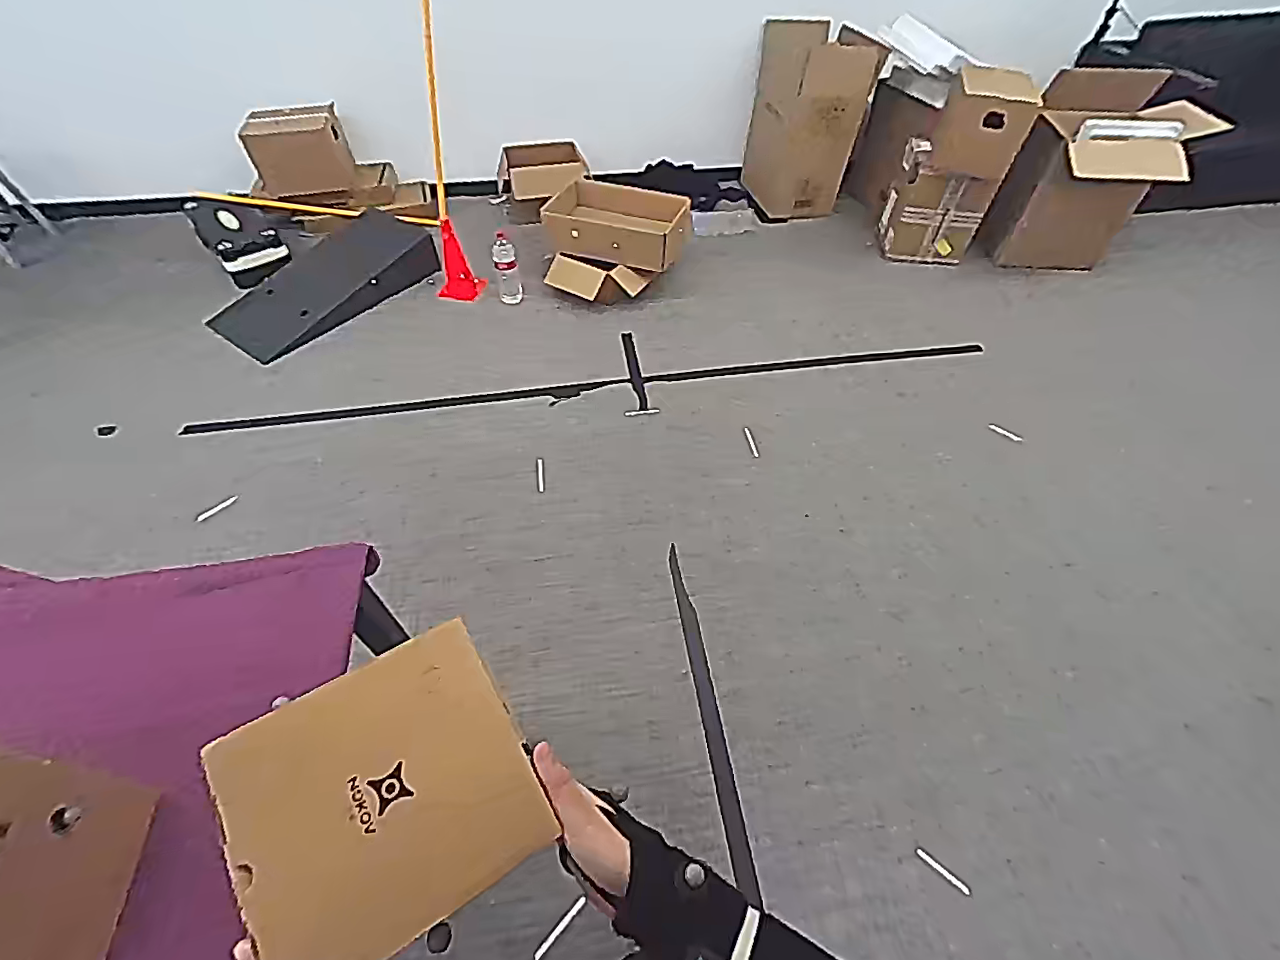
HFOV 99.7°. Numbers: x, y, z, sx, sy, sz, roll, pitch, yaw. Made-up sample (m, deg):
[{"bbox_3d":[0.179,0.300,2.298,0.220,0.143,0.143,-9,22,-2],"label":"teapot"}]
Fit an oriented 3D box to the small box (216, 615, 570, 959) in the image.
[{"bbox_3d":[-0.170,0.233,0.421,0.179,0.176,0.168,-27,70,-19],"label":"small box"}]
